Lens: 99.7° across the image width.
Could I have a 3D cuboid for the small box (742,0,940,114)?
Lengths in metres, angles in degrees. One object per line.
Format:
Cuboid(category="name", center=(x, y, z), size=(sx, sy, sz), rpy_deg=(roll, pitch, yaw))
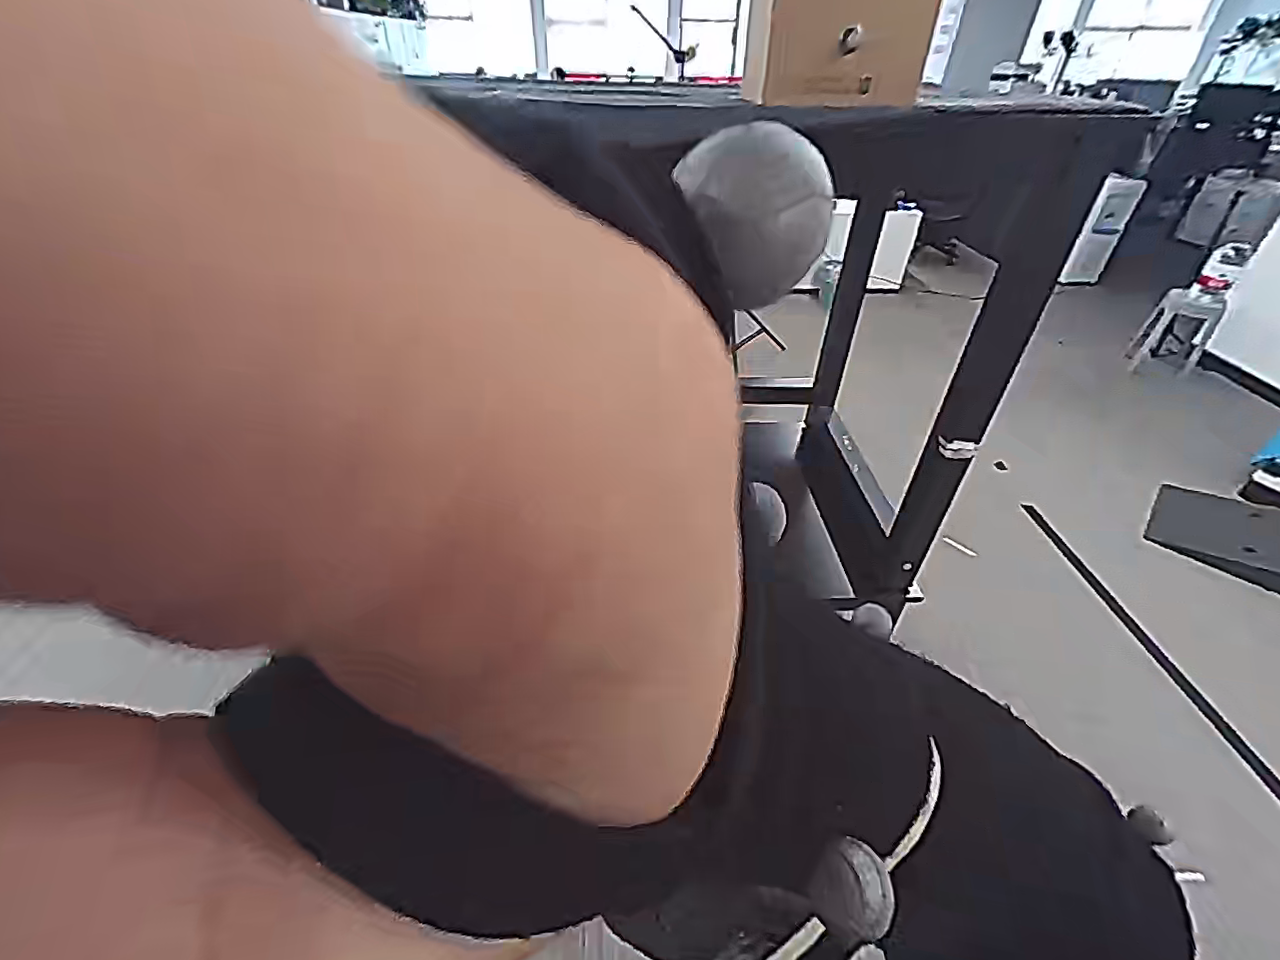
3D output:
Cuboid(category="small box", center=(0.211, -0.511, 0.594), size=(0.168, 0.176, 0.179), rpy_deg=(0, 38, 0))
